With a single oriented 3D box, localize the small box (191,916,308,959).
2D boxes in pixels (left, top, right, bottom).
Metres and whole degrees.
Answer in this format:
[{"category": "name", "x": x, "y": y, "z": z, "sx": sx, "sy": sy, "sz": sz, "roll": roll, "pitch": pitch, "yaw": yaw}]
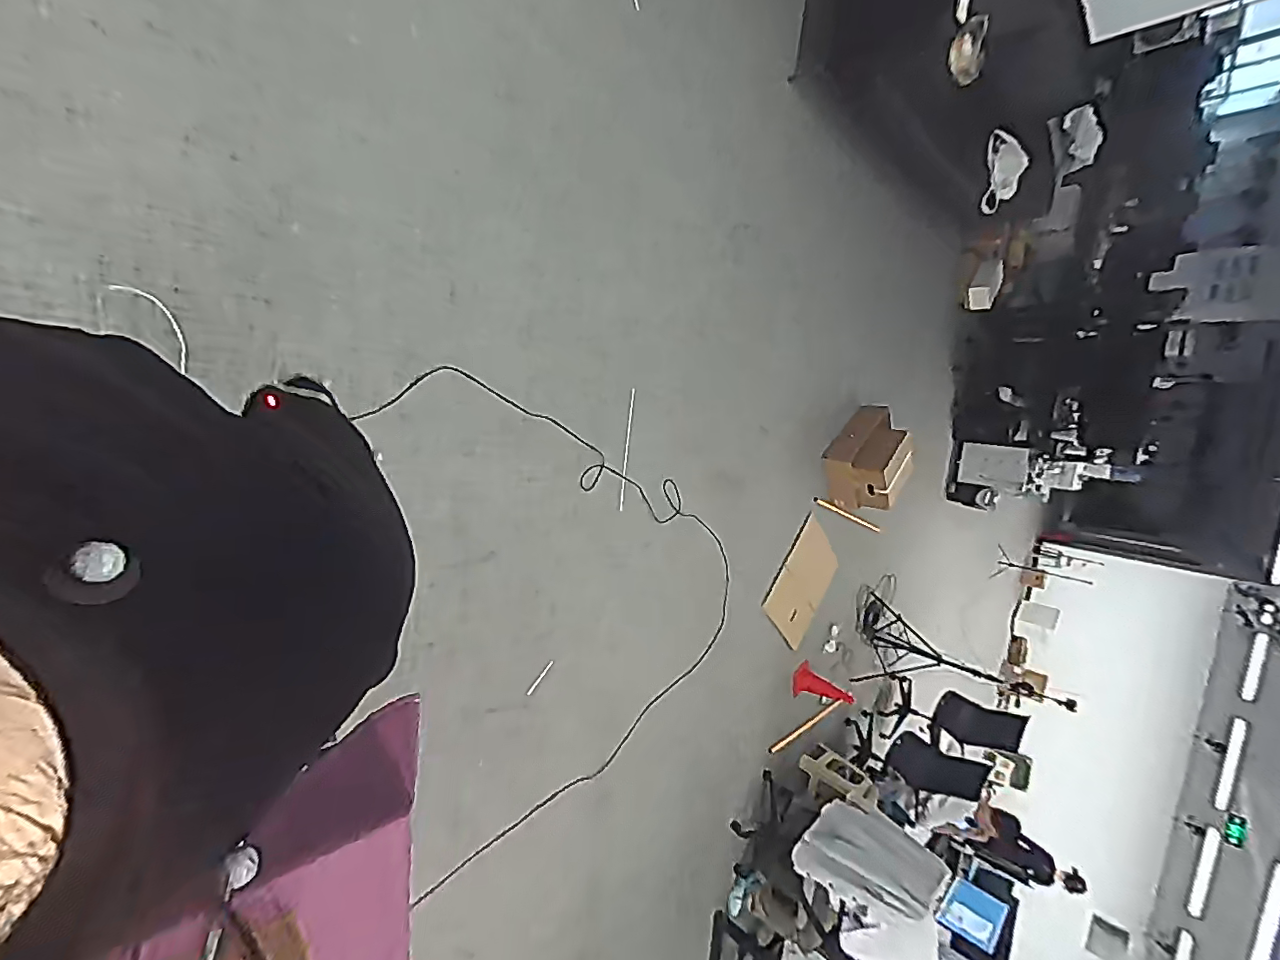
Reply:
[{"category": "small box", "x": -0.514, "y": 0.713, "z": 0.677, "sx": 0.179, "sy": 0.176, "sz": 0.168, "roll": -2, "pitch": 101, "yaw": -45}]
